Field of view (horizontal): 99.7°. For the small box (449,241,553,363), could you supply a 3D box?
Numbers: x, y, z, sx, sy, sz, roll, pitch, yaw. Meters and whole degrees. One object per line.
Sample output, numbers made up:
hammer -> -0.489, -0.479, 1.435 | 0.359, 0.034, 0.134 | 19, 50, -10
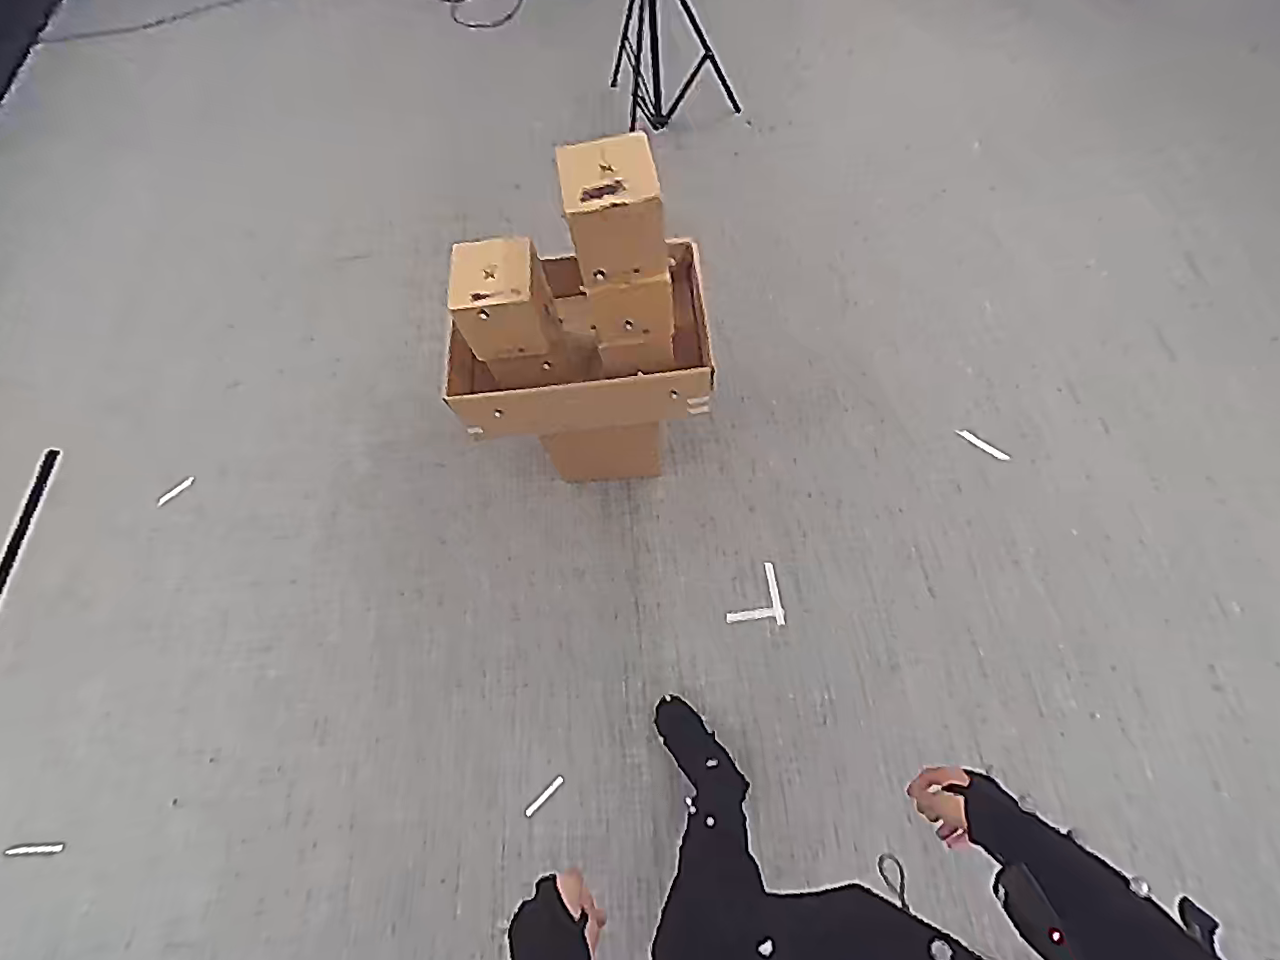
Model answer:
small box -> -0.289, -0.377, 1.159 | 0.168, 0.176, 0.179 | -6, 64, 5

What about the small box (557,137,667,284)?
small box -> -0.047, -0.487, 1.002 | 0.168, 0.176, 0.179 | -11, 65, 1

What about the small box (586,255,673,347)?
small box -> -0.023, -0.411, 1.147 | 0.168, 0.176, 0.179 | -9, 66, 2
